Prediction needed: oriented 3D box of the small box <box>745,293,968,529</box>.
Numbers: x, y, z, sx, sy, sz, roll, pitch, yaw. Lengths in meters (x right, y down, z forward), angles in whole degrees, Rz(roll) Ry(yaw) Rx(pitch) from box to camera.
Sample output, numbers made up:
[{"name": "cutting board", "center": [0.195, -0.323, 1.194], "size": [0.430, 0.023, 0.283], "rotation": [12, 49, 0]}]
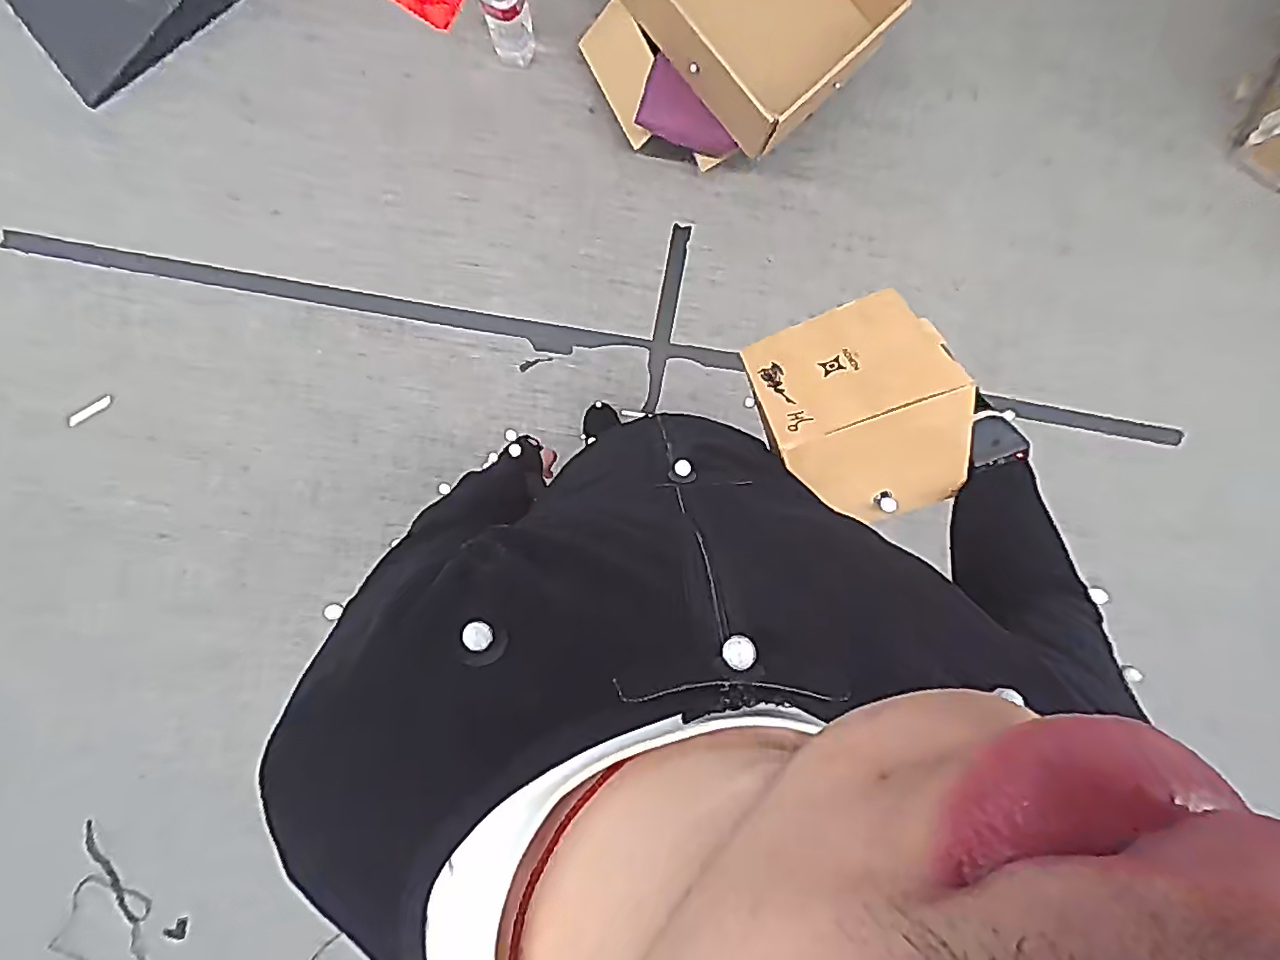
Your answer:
[{"name": "small box", "center": [0.237, -0.072, 0.614], "size": [0.179, 0.168, 0.176], "rotation": [-20, 136, 12]}]
